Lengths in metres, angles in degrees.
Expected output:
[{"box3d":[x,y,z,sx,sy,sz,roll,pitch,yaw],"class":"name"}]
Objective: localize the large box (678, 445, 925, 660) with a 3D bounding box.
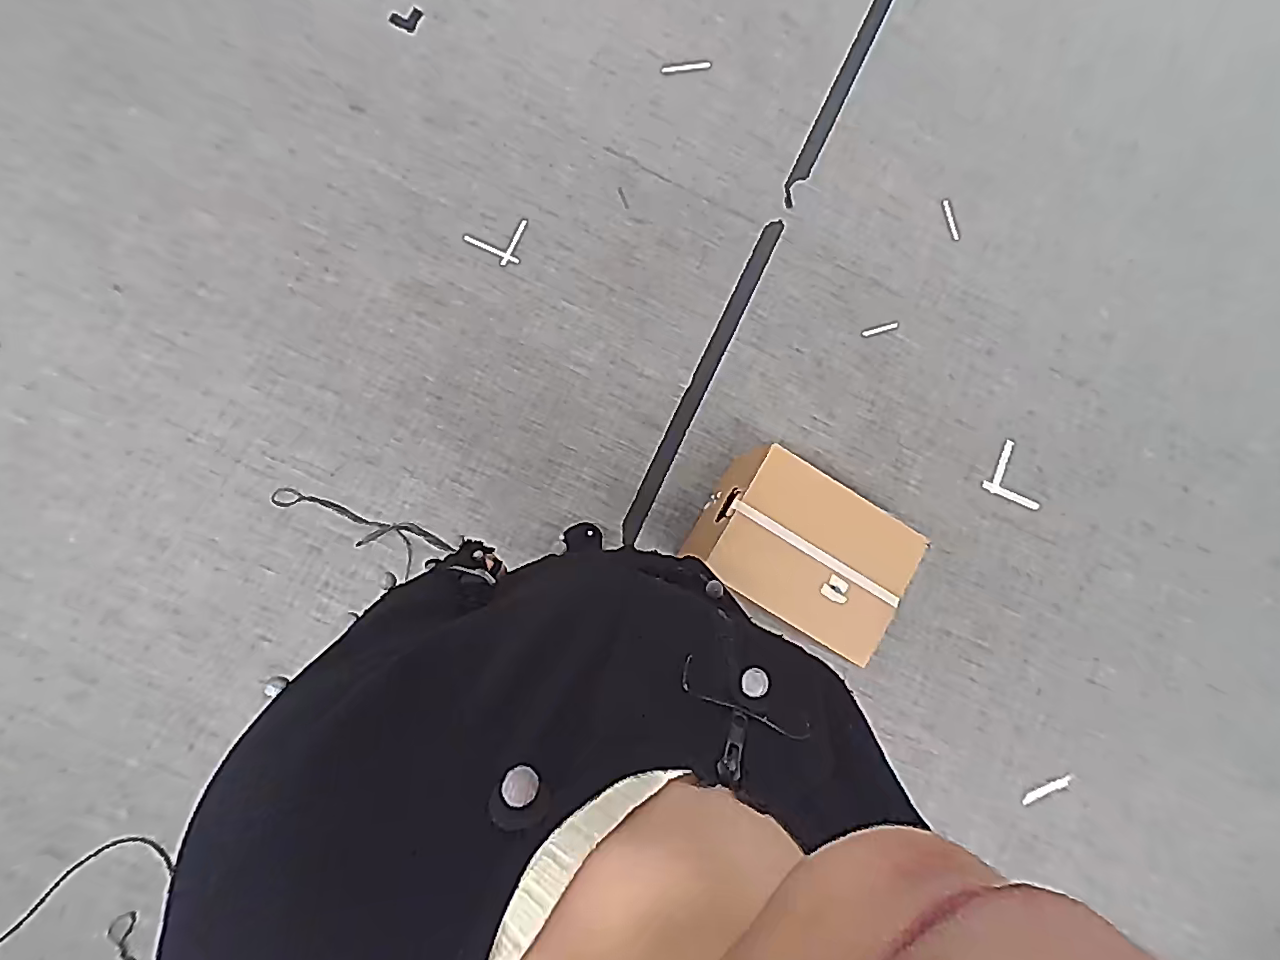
[{"box3d":[0.355,0.162,1.283,0.408,0.320,0.320,31,84,-4],"class":"large box"}]
